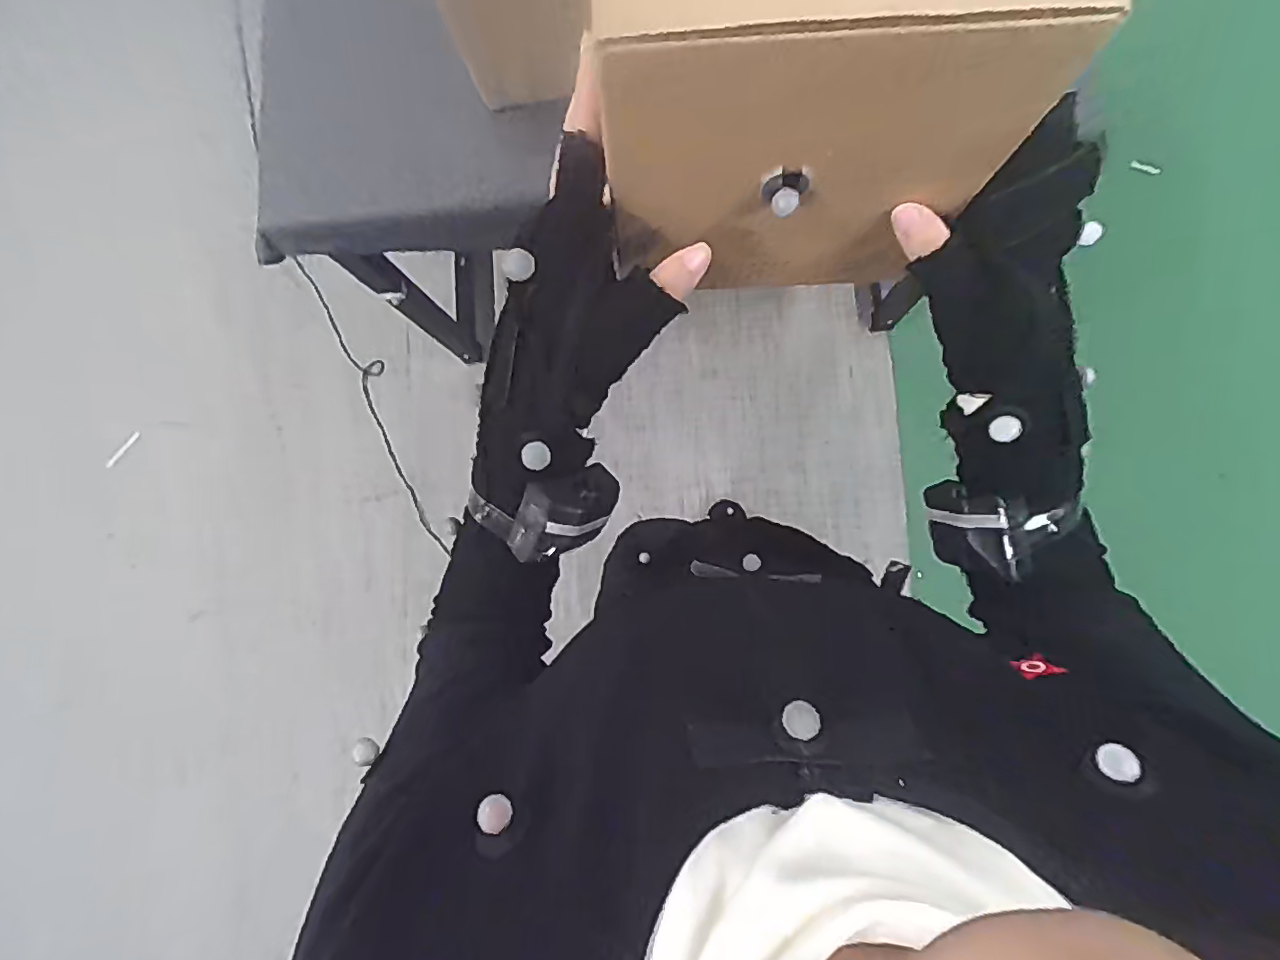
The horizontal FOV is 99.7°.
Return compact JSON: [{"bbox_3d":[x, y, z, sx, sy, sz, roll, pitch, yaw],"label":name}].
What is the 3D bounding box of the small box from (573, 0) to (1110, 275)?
[{"bbox_3d":[0.066,-0.217,0.263,0.179,0.176,0.168,-1,81,2],"label":"small box"}]
